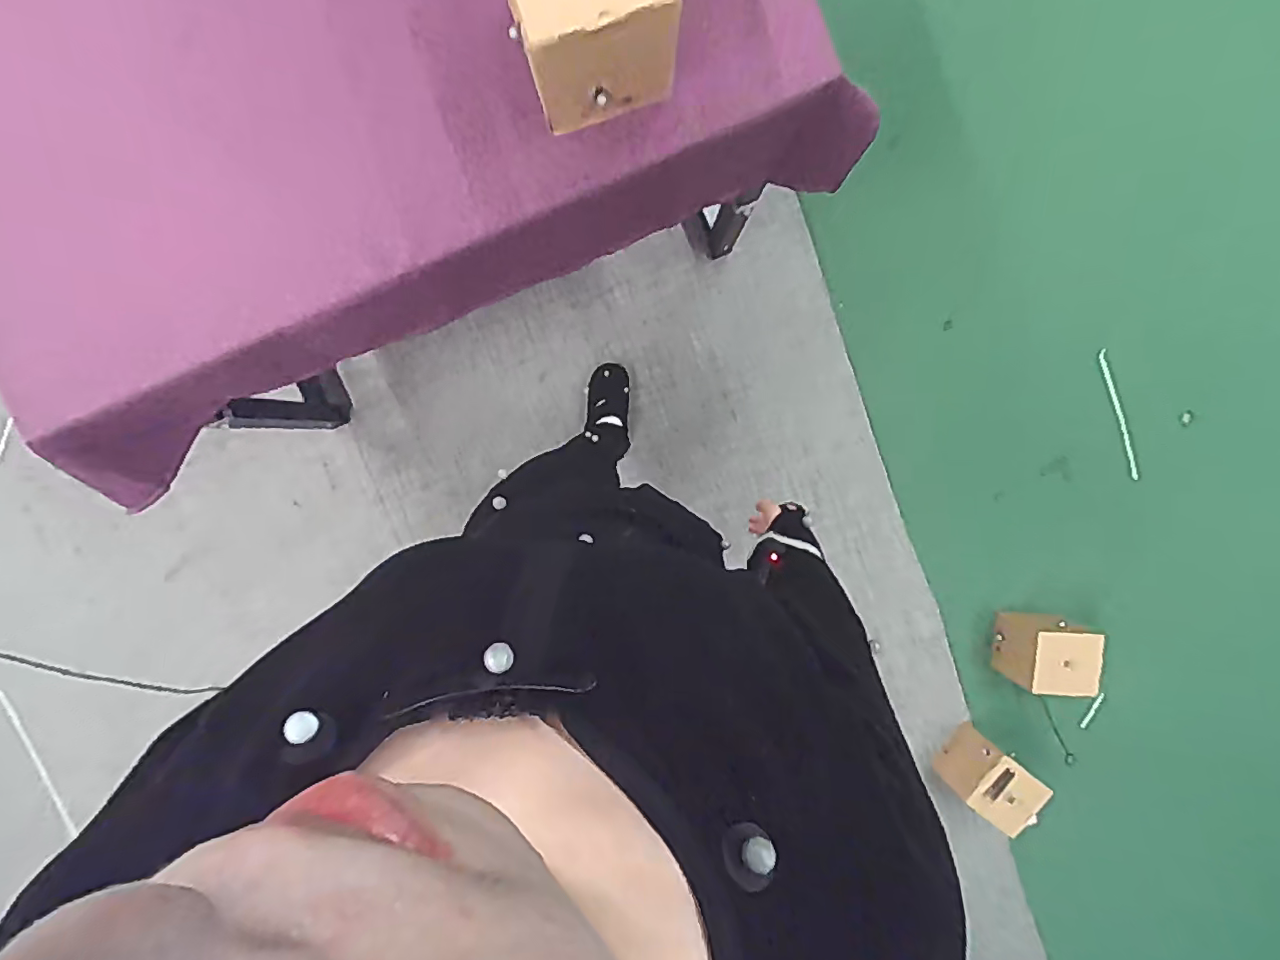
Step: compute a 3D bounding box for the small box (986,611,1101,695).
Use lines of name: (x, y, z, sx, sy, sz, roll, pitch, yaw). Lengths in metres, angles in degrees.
small box: (1.084, 0.462, 1.464, 0.179, 0.176, 0.168, 4, 94, -2)

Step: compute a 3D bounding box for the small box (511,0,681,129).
small box: (-0.062, -0.560, 0.629, 0.168, 0.176, 0.179, -18, 95, 1)
